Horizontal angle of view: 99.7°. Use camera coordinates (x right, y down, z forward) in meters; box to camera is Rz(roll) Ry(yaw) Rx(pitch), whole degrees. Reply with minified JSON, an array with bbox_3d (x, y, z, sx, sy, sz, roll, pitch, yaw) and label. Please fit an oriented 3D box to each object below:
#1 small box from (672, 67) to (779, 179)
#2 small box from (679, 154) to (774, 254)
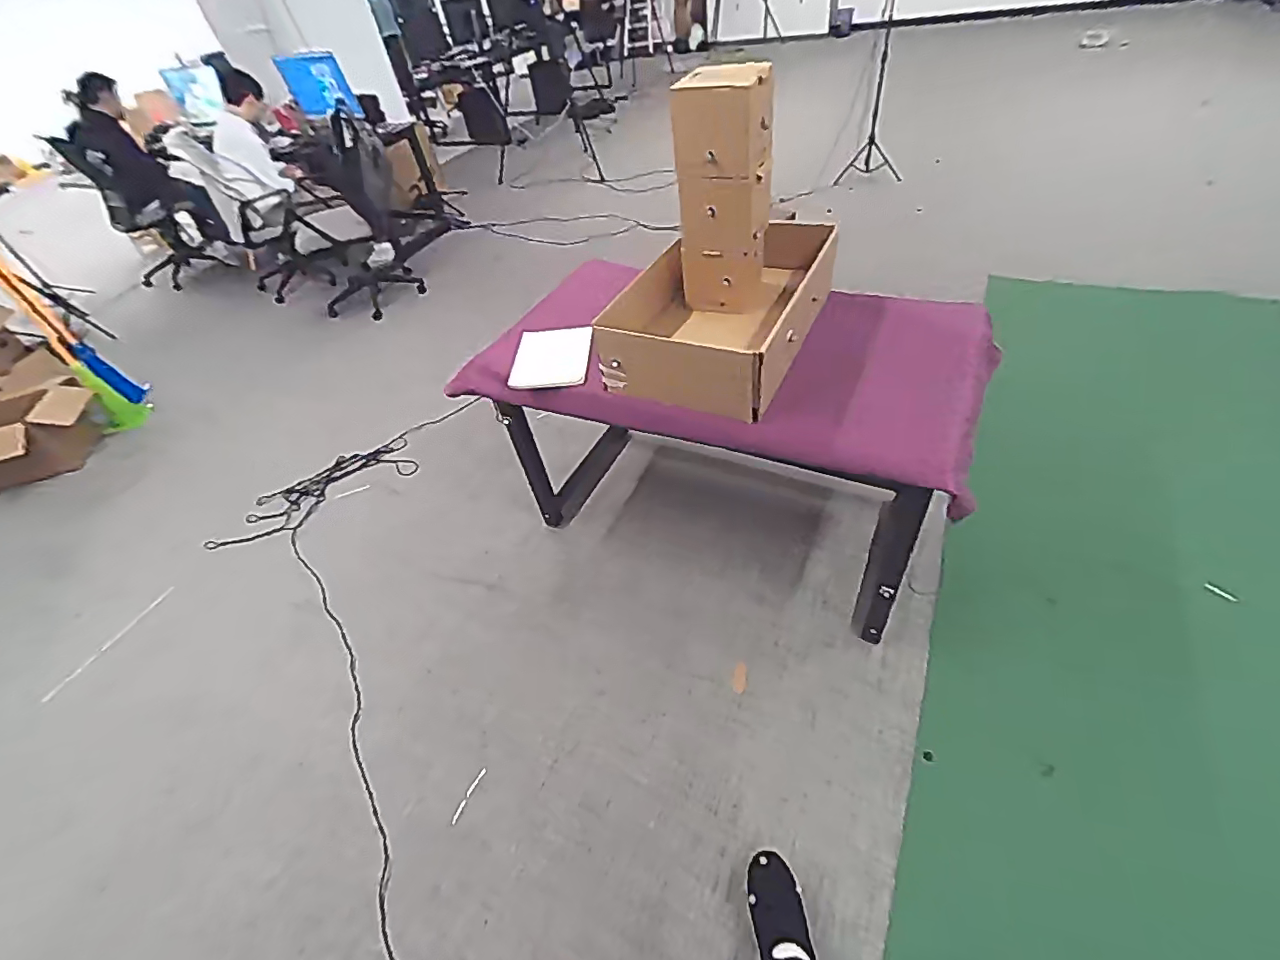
[{"bbox_3d":[0.187,-0.775,1.178,0.179,0.176,0.168,17,52,23],"label":"small box"},{"bbox_3d":[0.210,-0.660,1.294,0.179,0.176,0.168,14,51,22],"label":"small box"}]
